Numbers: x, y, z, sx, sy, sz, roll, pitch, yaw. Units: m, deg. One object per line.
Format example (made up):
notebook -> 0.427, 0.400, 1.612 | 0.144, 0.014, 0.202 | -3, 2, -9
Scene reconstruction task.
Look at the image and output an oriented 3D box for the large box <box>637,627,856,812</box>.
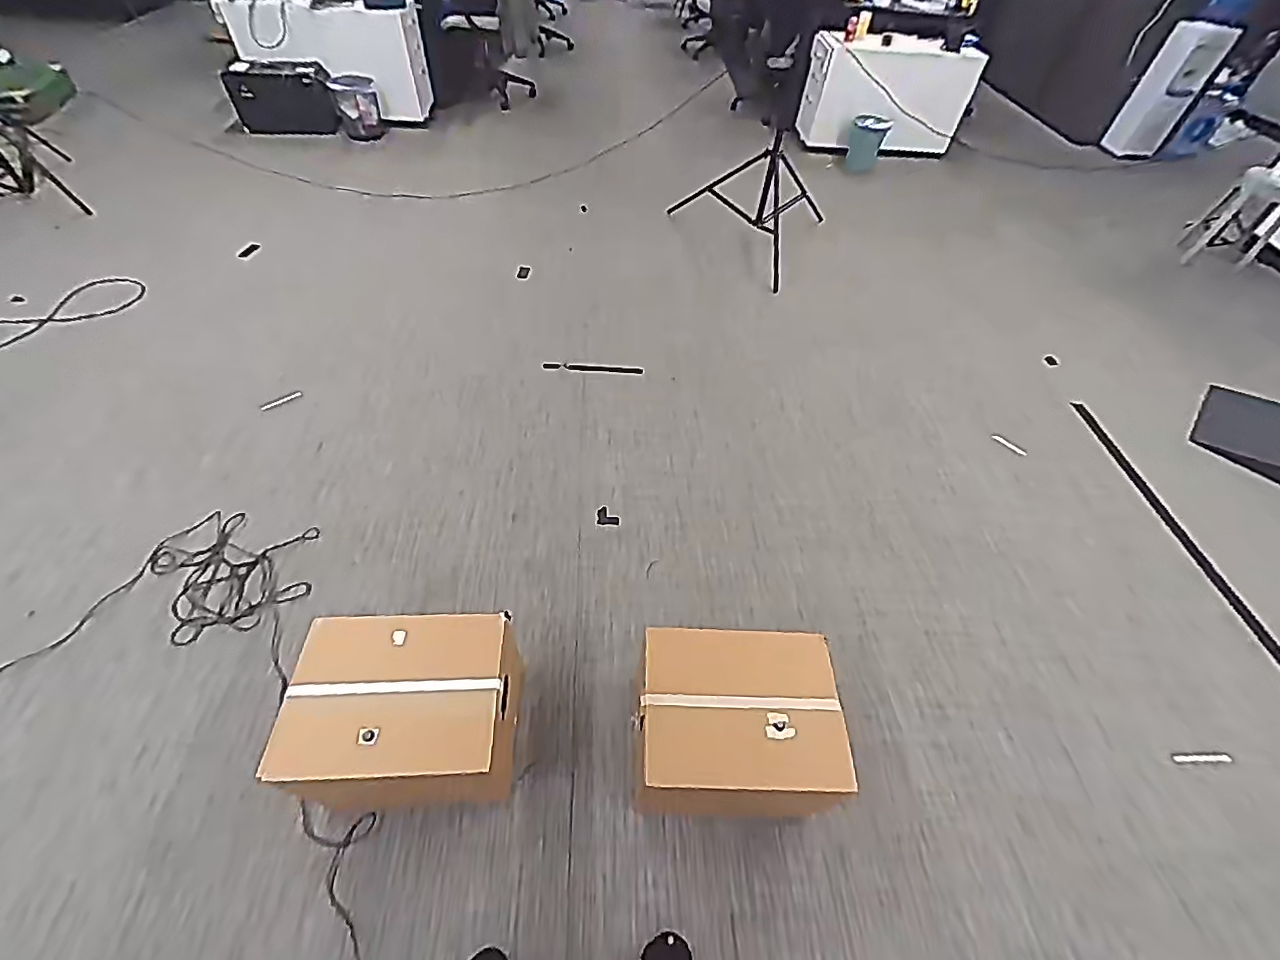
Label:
large box -> 0.203, 0.549, 1.223 | 0.408, 0.320, 0.320 | 3, 51, -3
